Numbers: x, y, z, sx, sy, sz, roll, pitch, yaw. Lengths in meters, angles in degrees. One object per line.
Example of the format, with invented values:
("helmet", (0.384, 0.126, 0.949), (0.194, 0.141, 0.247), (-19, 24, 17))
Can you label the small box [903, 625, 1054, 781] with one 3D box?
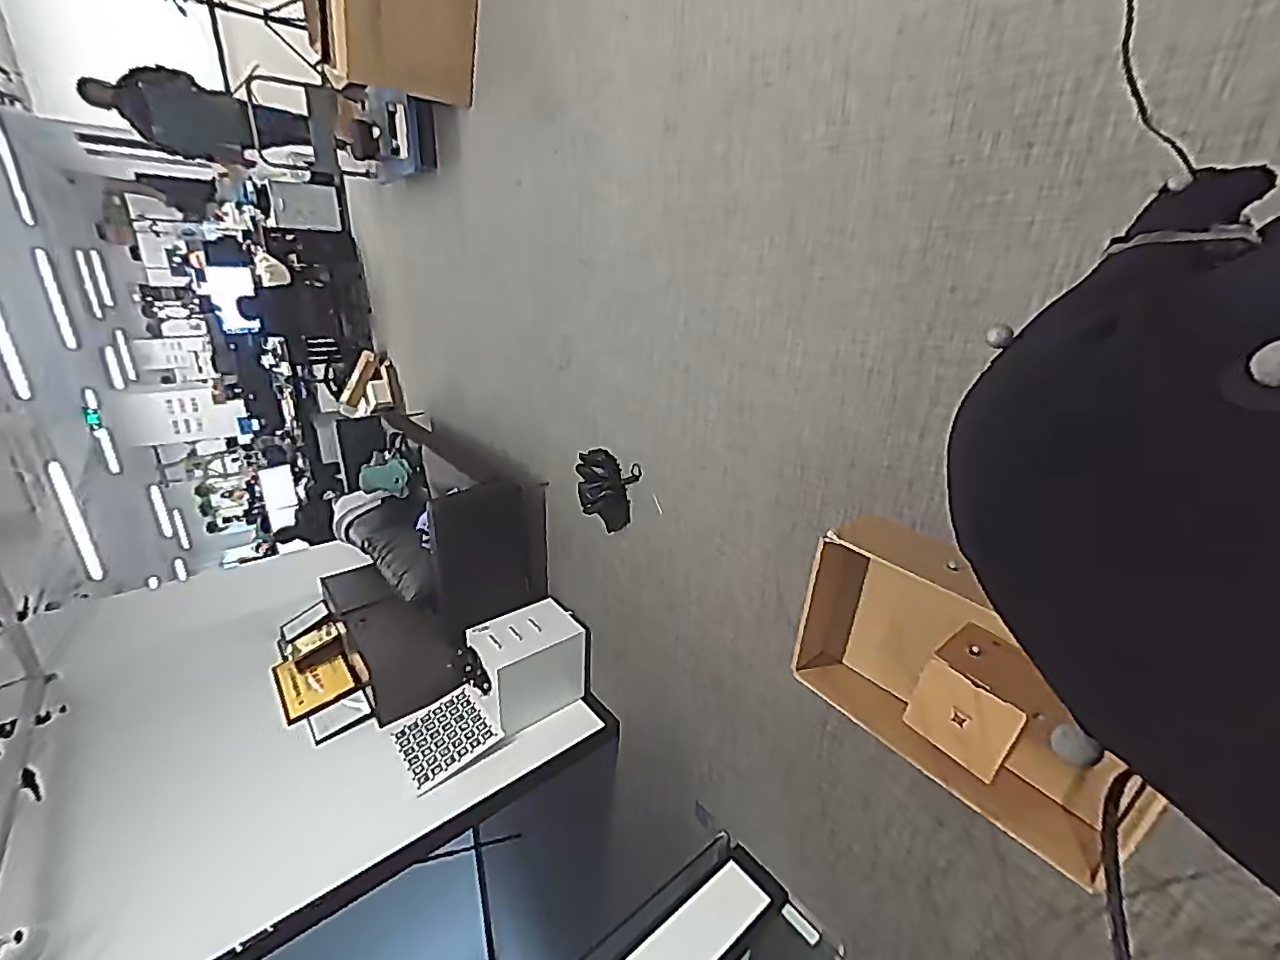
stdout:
("small box", (0.634, 0.405, 1.013), (0.168, 0.176, 0.179), (33, 129, 44))
